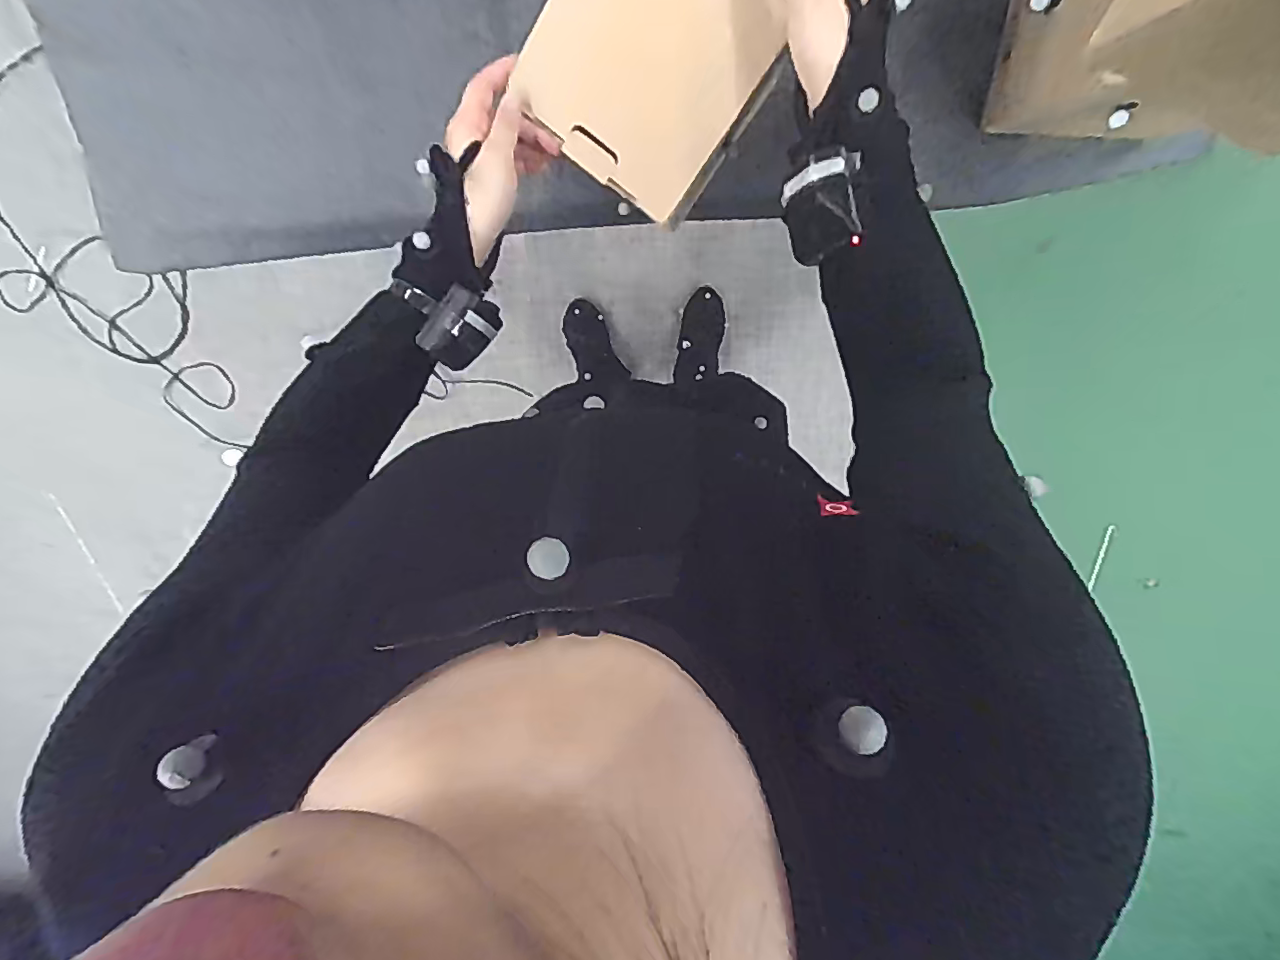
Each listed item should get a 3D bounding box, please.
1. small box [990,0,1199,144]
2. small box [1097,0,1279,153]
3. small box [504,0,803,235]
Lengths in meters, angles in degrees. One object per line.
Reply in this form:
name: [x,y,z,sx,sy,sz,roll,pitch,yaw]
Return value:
small box: [0.439,-0.394,0.454,0.179,0.176,0.168,4,112,2]
small box: [0.435,-0.317,0.309,0.179,0.176,0.168,23,111,-7]
small box: [0.014,-0.344,0.483,0.168,0.176,0.179,37,111,-12]
